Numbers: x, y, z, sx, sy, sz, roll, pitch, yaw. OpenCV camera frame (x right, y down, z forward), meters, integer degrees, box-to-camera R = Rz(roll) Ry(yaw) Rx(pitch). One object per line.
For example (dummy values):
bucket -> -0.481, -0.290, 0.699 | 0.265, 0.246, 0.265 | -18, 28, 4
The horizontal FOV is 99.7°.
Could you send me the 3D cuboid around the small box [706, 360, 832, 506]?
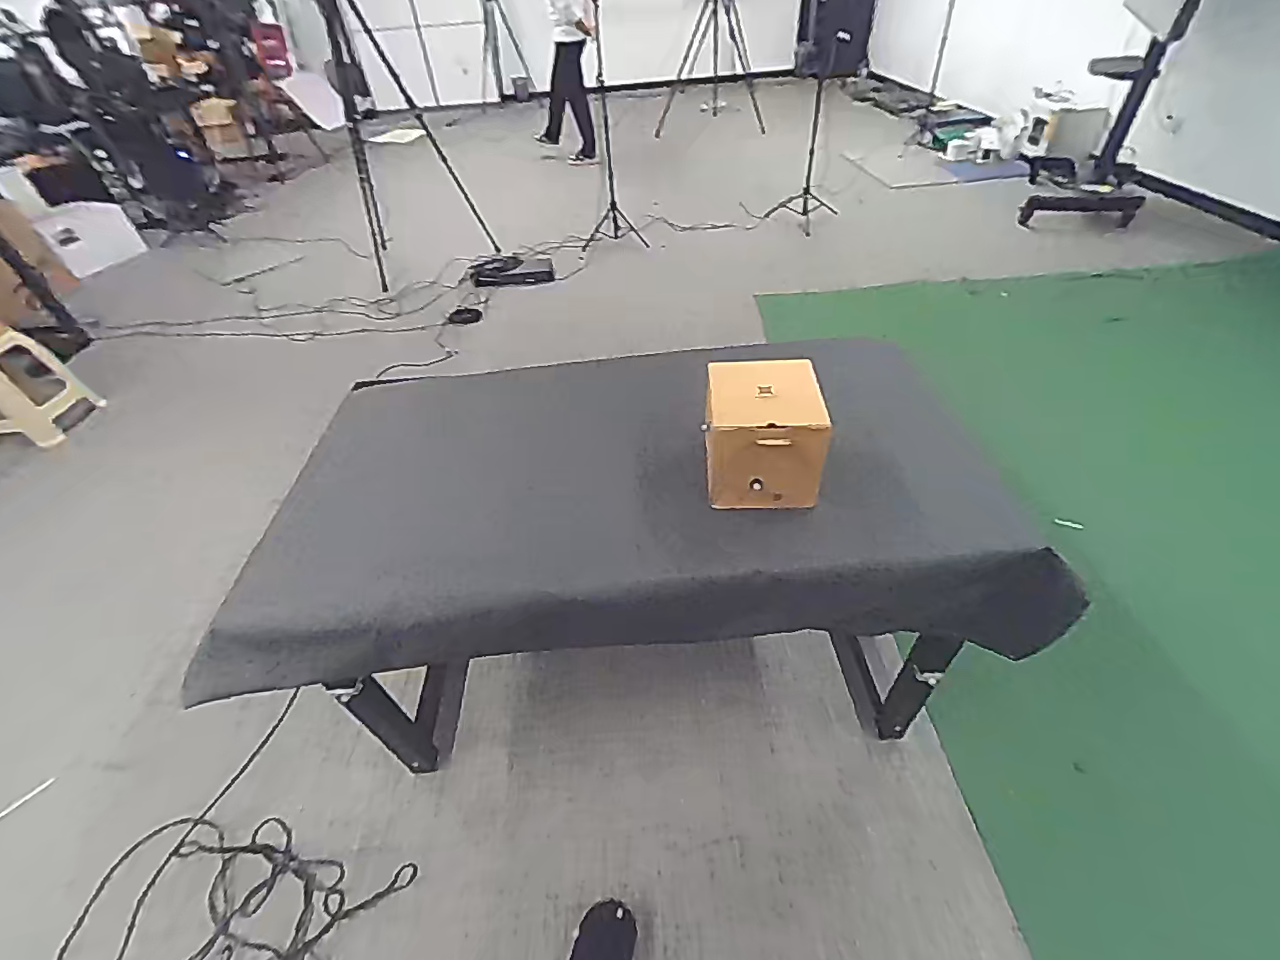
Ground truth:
small box -> 0.195, -0.077, 0.874 | 0.168, 0.176, 0.179 | -1, 44, 4
